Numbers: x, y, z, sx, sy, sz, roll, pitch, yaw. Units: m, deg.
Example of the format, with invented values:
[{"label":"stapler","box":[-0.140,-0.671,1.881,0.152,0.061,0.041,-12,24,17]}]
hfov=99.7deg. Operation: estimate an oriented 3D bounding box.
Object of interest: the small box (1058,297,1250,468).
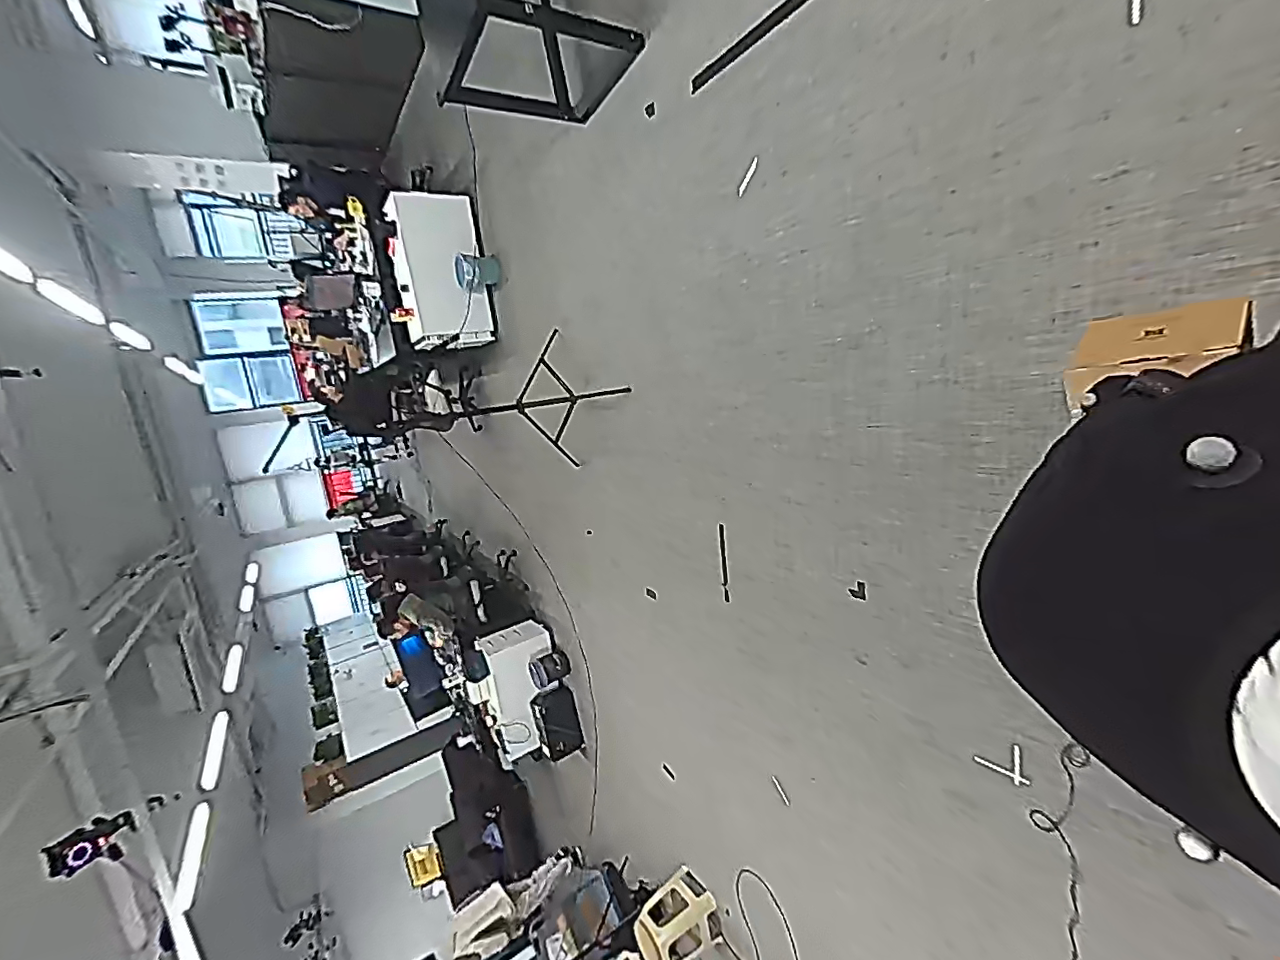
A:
[{"label":"small box","box":[0.714,-0.125,0.750,0.168,0.179,0.176,0,120,52]}]
